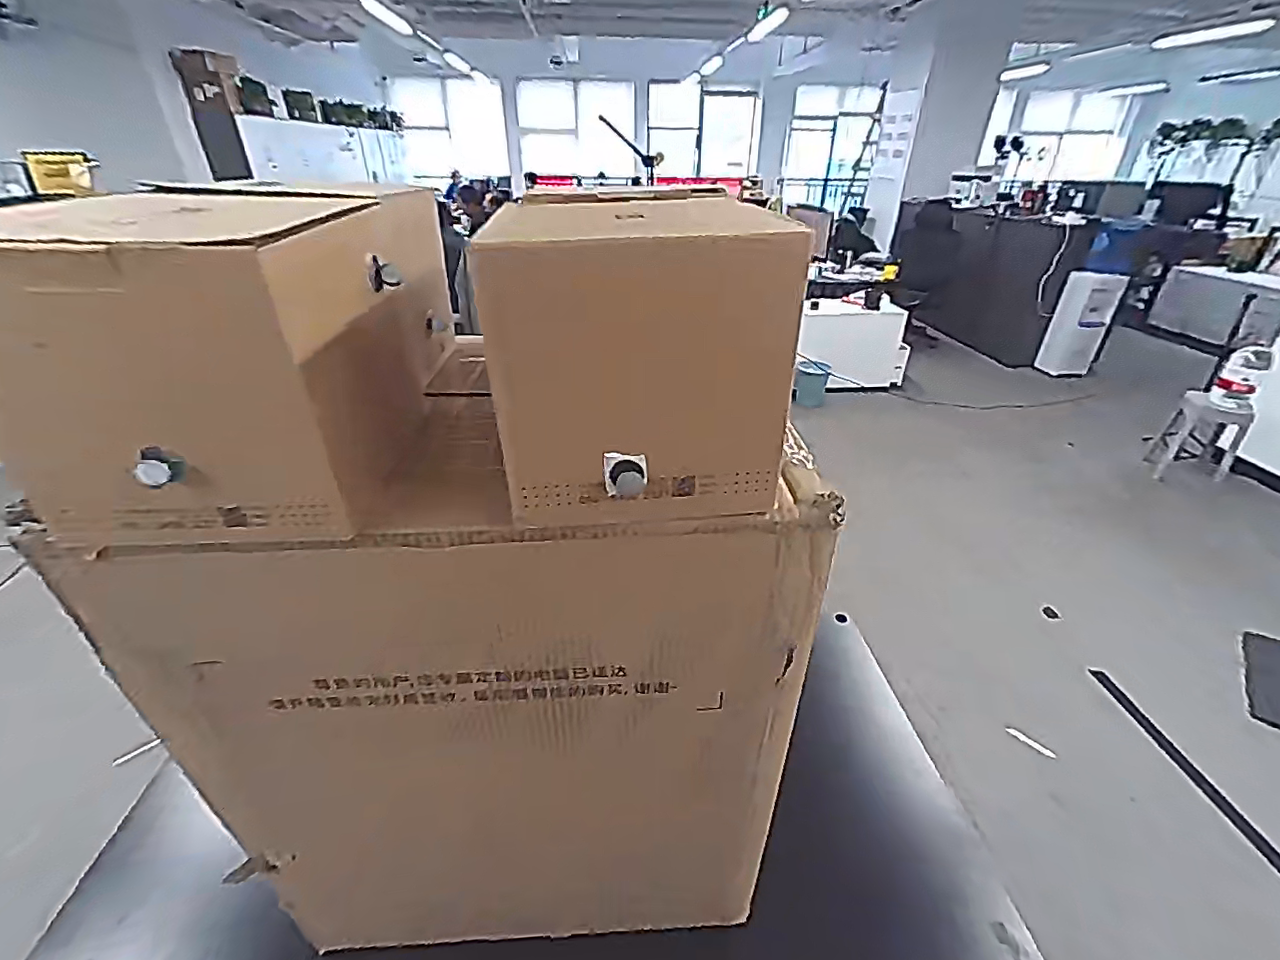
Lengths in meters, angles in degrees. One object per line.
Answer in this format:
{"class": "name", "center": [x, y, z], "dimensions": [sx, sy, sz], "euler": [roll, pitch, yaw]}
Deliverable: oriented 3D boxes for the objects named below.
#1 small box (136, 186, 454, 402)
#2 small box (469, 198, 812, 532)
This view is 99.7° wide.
{"class": "small box", "center": [-0.292, -0.179, 0.510], "dimensions": [0.179, 0.176, 0.168], "euler": [0, 30, -3]}
{"class": "small box", "center": [-0.005, -0.086, 0.364], "dimensions": [0.168, 0.176, 0.179], "euler": [-6, 33, -5]}
